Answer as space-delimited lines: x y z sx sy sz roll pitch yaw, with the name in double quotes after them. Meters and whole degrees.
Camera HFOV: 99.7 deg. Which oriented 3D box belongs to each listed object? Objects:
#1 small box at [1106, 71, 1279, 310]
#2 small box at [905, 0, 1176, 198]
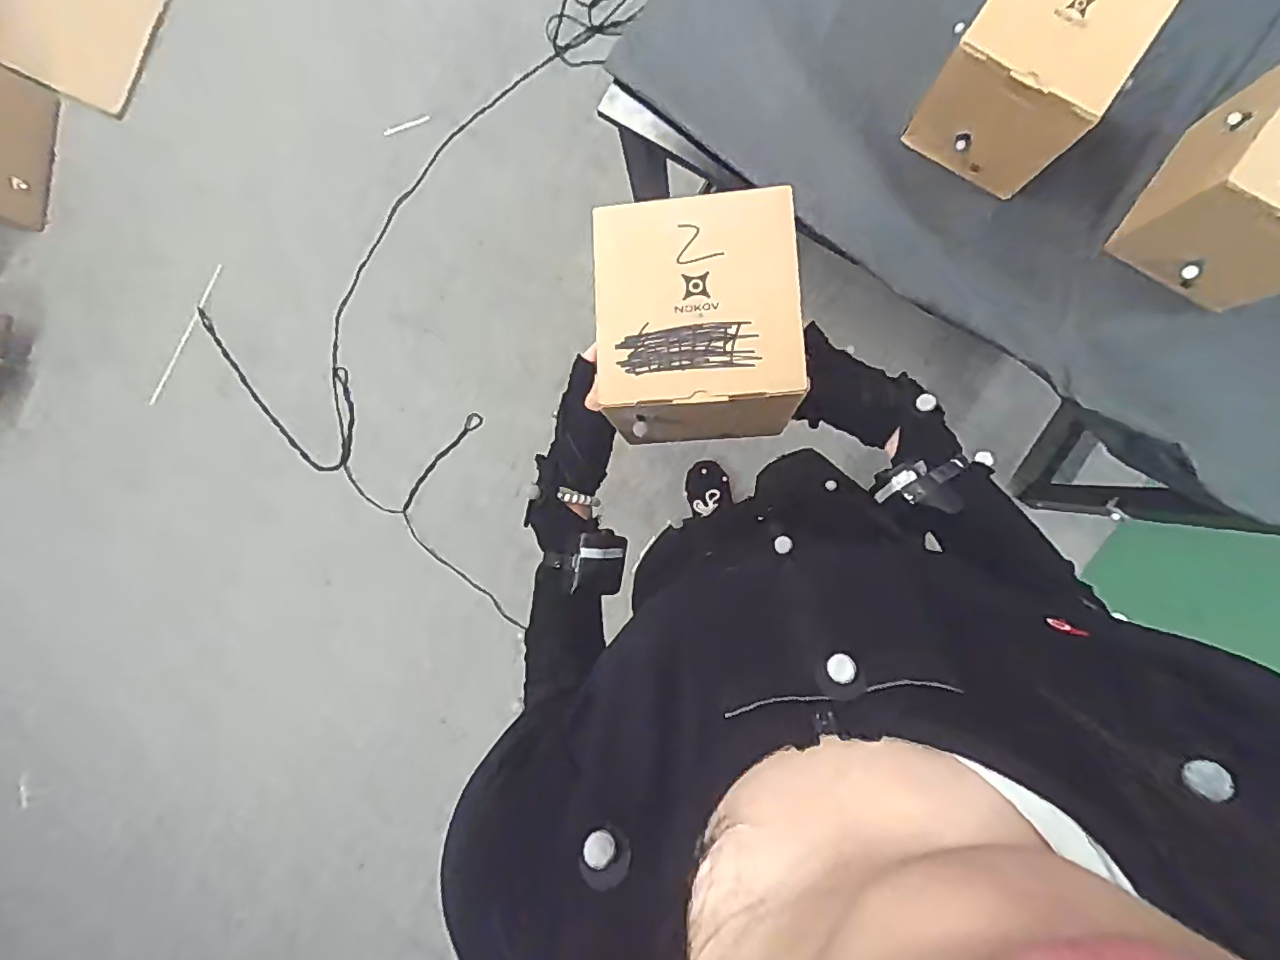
0.708 -0.330 0.624 0.168 0.176 0.179 33 93 4 "small box"
0.455 -0.486 0.644 0.168 0.176 0.179 32 94 3 "small box"
